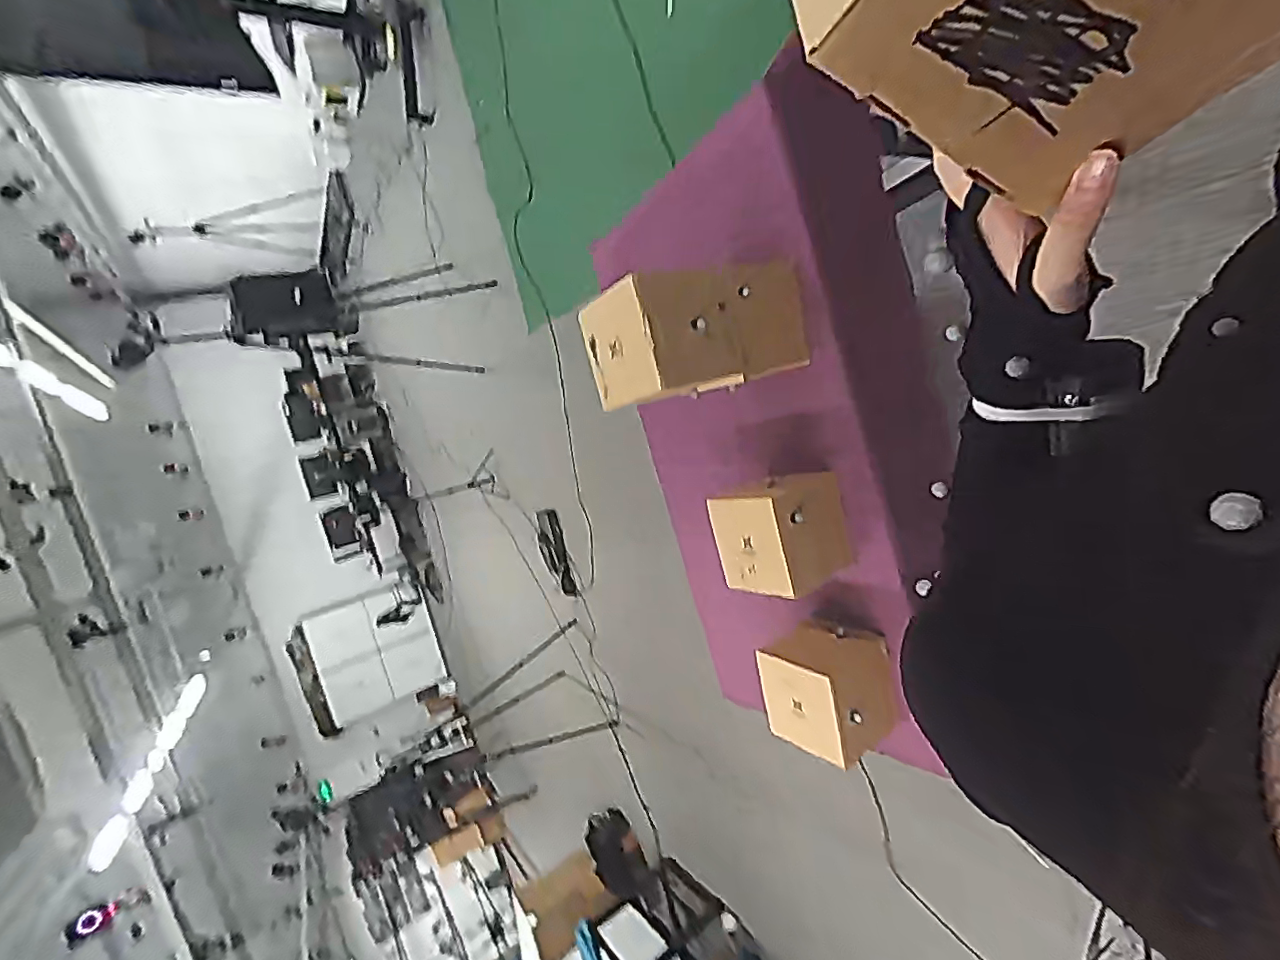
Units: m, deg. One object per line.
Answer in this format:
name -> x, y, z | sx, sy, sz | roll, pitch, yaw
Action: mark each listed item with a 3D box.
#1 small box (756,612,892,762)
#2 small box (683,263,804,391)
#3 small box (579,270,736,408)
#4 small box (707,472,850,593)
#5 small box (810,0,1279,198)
small box -> 0.346, 0.372, 1.006 | 0.168, 0.176, 0.179 | 2, 107, 56
small box -> 0.166, -0.266, 0.949 | 0.168, 0.176, 0.179 | 1, 106, 56
small box -> 0.033, -0.223, 0.862 | 0.179, 0.176, 0.168 | -6, 100, 57
small box -> 0.255, 0.086, 0.993 | 0.168, 0.176, 0.179 | -5, 102, 58
small box -> 0.168, -0.251, 0.188 | 0.179, 0.168, 0.176 | -29, 61, 52
